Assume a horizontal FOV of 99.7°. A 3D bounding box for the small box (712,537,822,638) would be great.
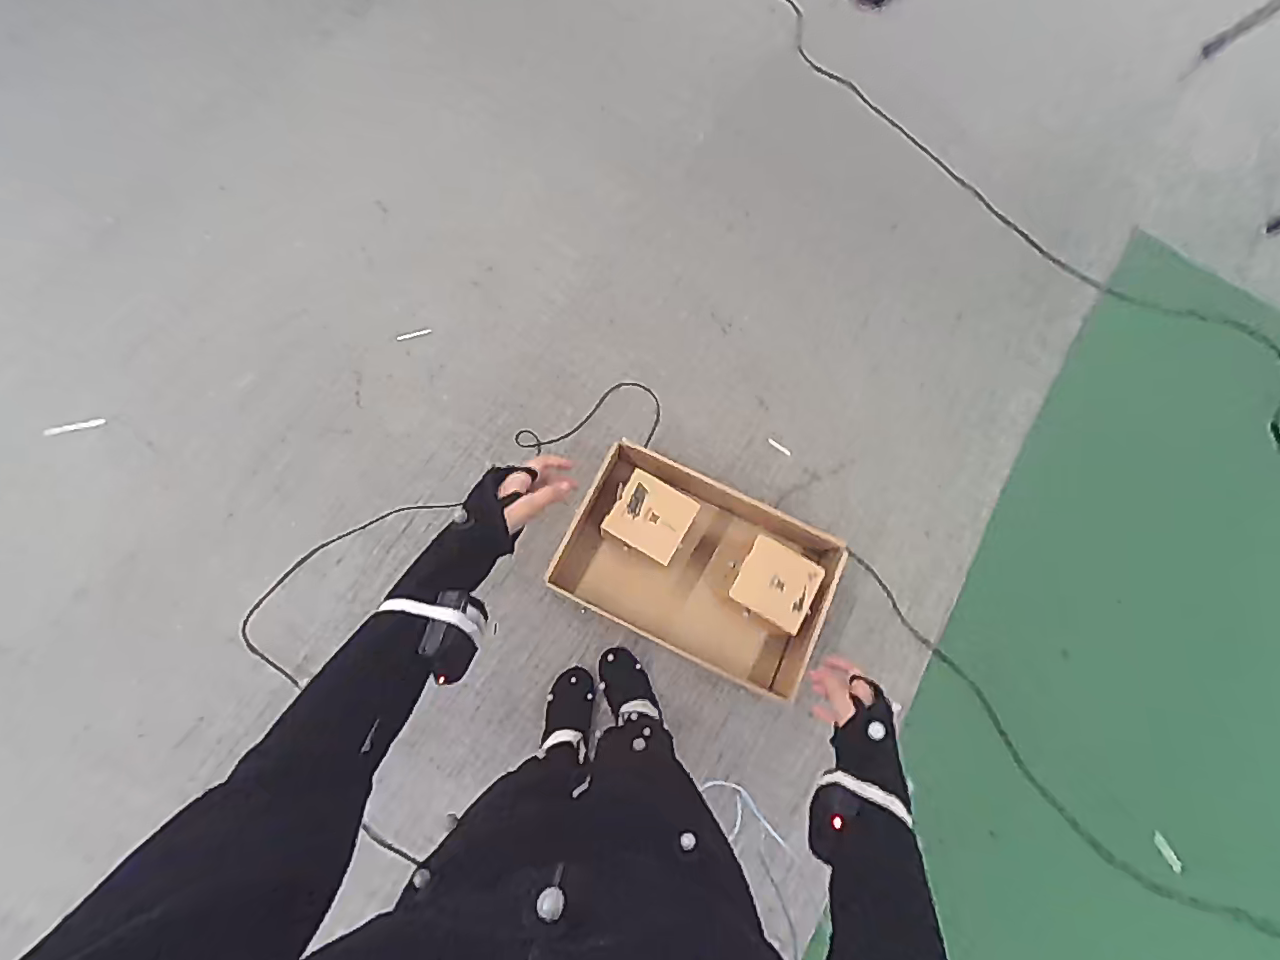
[{"bbox_3d":[0.293,0.261,1.287,0.179,0.176,0.168,31,75,5],"label":"small box"}]
